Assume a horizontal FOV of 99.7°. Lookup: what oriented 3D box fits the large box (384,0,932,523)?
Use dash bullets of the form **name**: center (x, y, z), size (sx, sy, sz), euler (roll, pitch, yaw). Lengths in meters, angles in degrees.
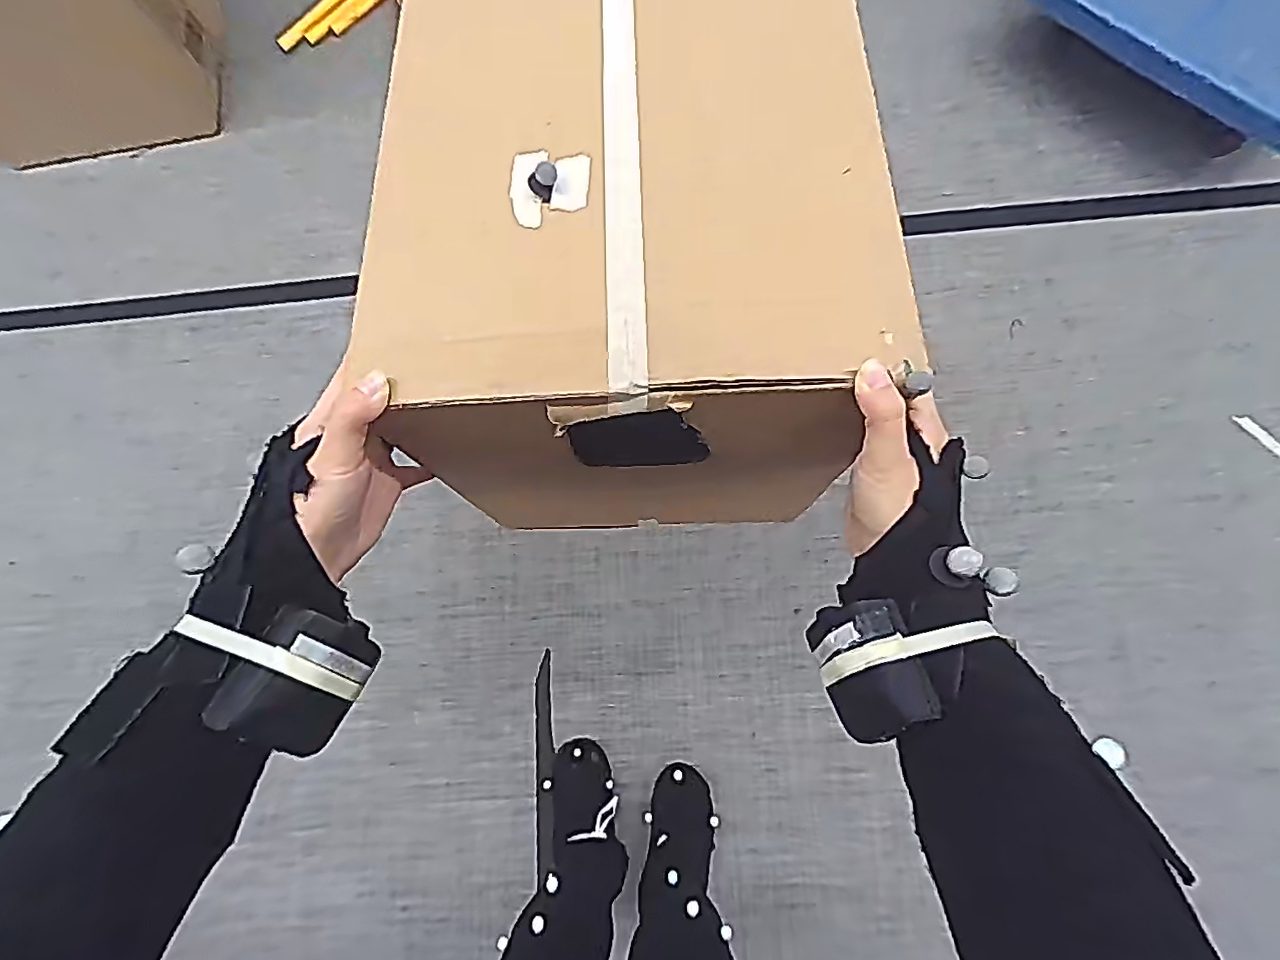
- **large box**: center (0.003, -0.193, 0.497), size (0.320, 0.320, 0.408), euler (-4, 73, 3)
